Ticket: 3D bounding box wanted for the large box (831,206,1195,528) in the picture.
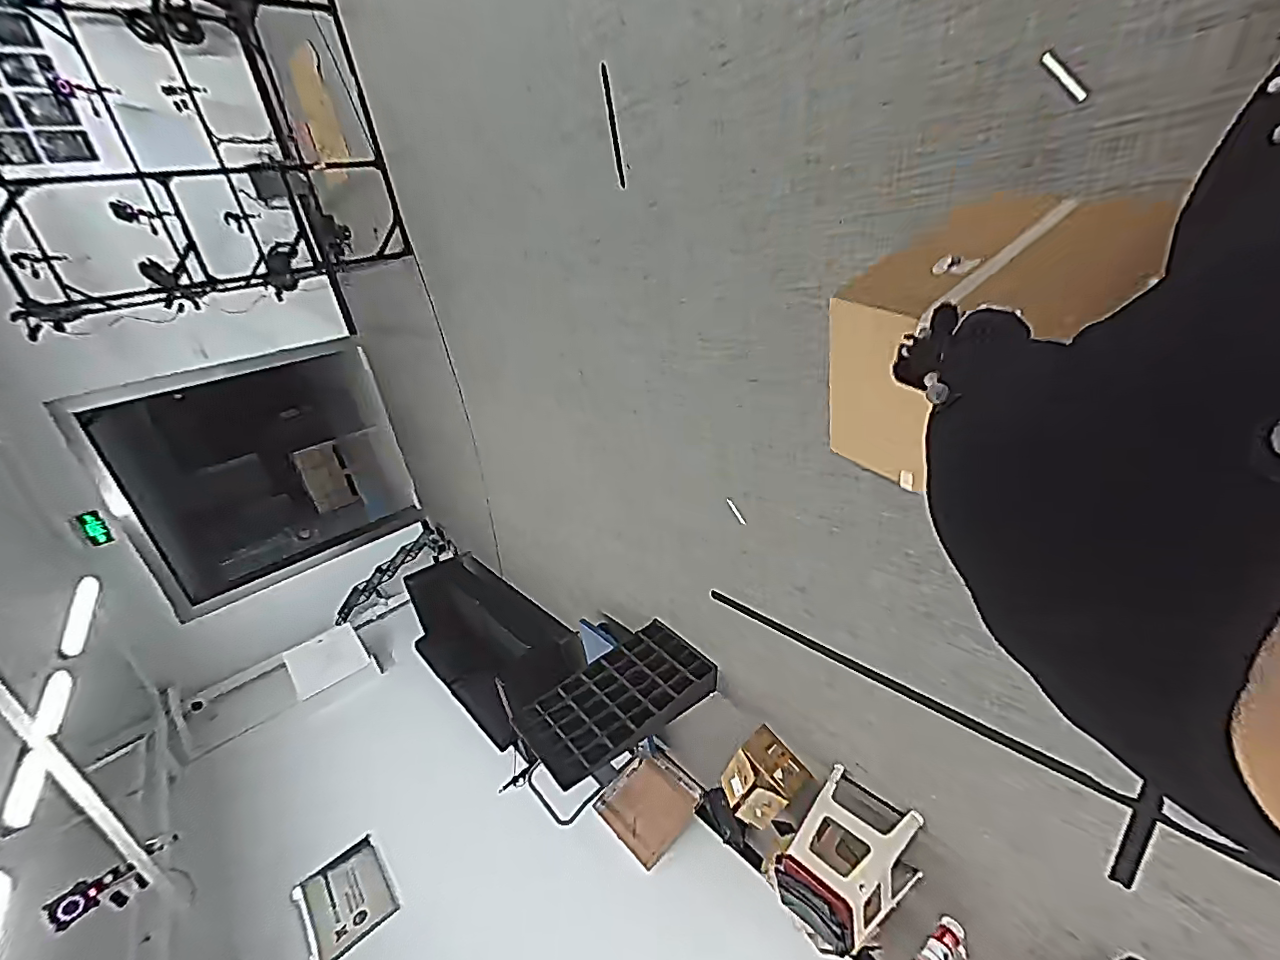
[{"bbox_3d":[0.565,-0.201,0.880,0.320,0.408,0.320,35,153,45],"label":"large box"}]
